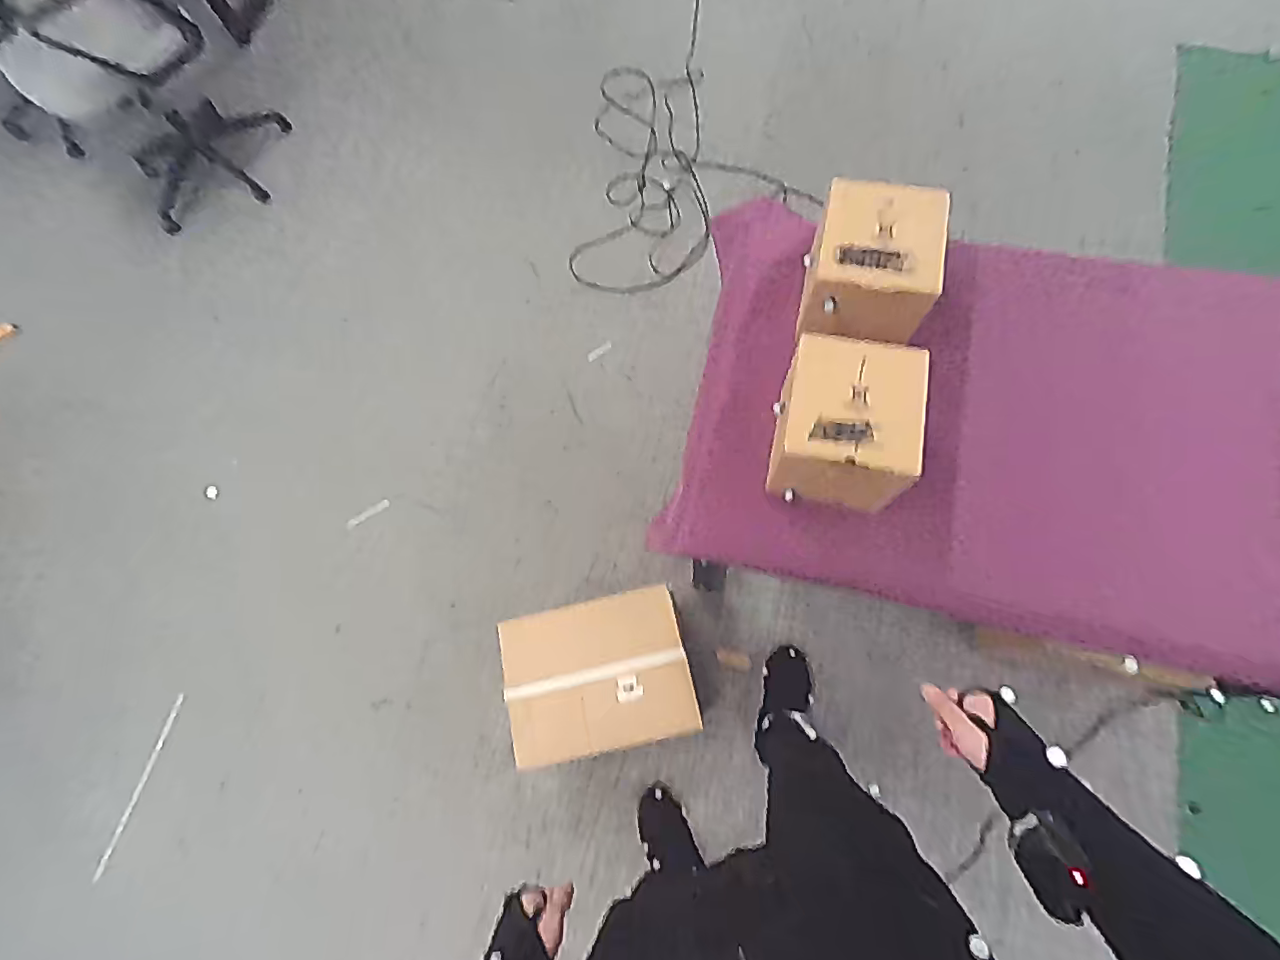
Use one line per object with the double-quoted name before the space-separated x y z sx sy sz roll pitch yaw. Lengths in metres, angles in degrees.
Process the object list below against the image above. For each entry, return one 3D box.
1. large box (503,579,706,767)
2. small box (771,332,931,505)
"large box" -0.076 0.462 1.316 0.408 0.320 0.320 -14 71 0
"small box" 0.285 -0.078 0.761 0.168 0.176 0.179 11 71 9
